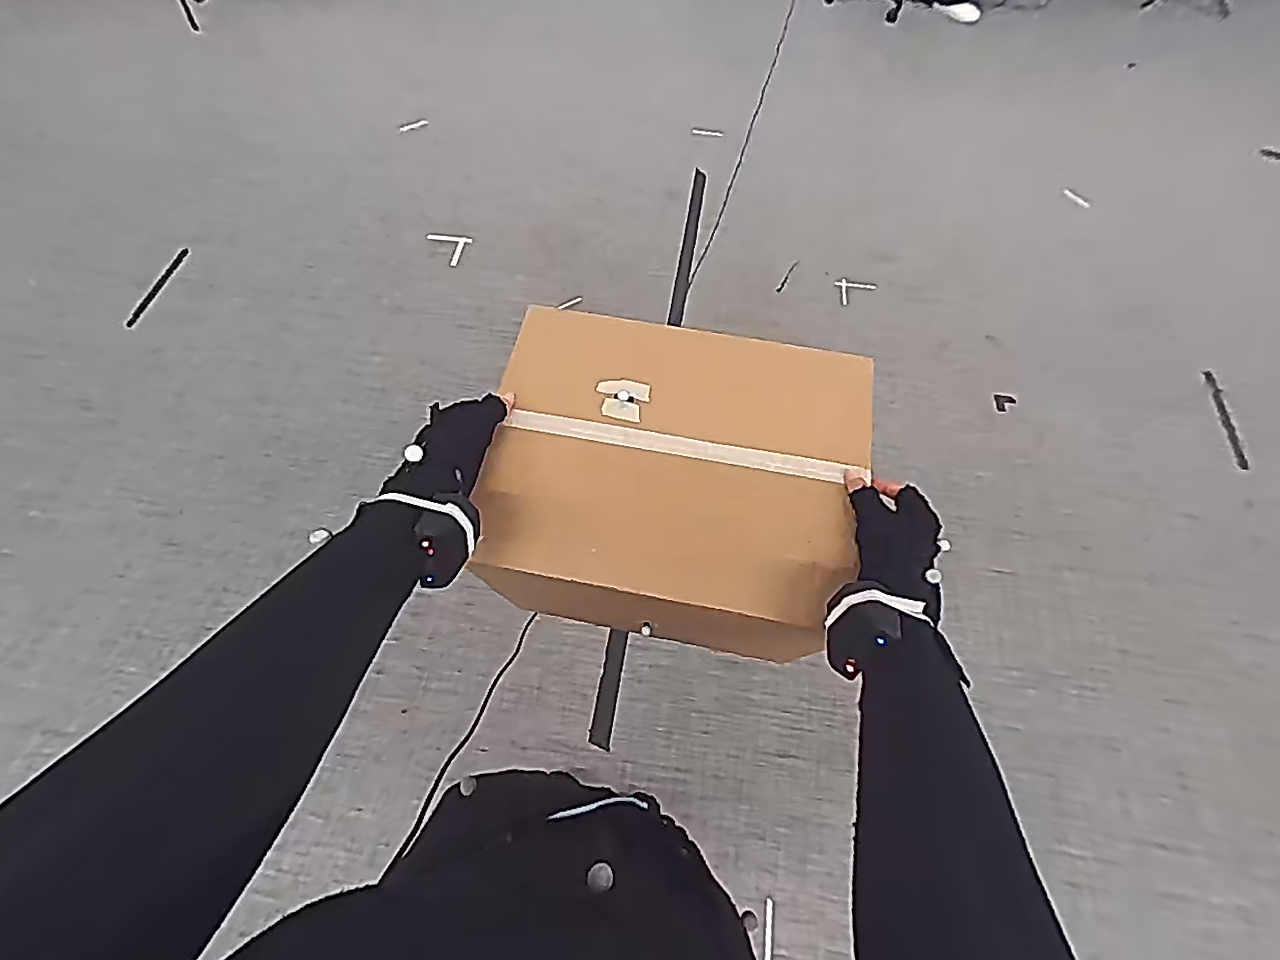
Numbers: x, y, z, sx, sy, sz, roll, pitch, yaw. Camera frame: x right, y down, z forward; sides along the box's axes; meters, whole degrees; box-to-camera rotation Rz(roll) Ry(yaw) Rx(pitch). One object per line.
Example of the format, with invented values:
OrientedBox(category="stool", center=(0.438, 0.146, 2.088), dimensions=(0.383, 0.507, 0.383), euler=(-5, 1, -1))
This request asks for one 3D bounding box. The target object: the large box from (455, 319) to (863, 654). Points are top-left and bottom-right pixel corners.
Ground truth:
OrientedBox(category="large box", center=(0.040, 0.029, 0.719), dimensions=(0.408, 0.320, 0.320), euler=(10, 67, 6))
